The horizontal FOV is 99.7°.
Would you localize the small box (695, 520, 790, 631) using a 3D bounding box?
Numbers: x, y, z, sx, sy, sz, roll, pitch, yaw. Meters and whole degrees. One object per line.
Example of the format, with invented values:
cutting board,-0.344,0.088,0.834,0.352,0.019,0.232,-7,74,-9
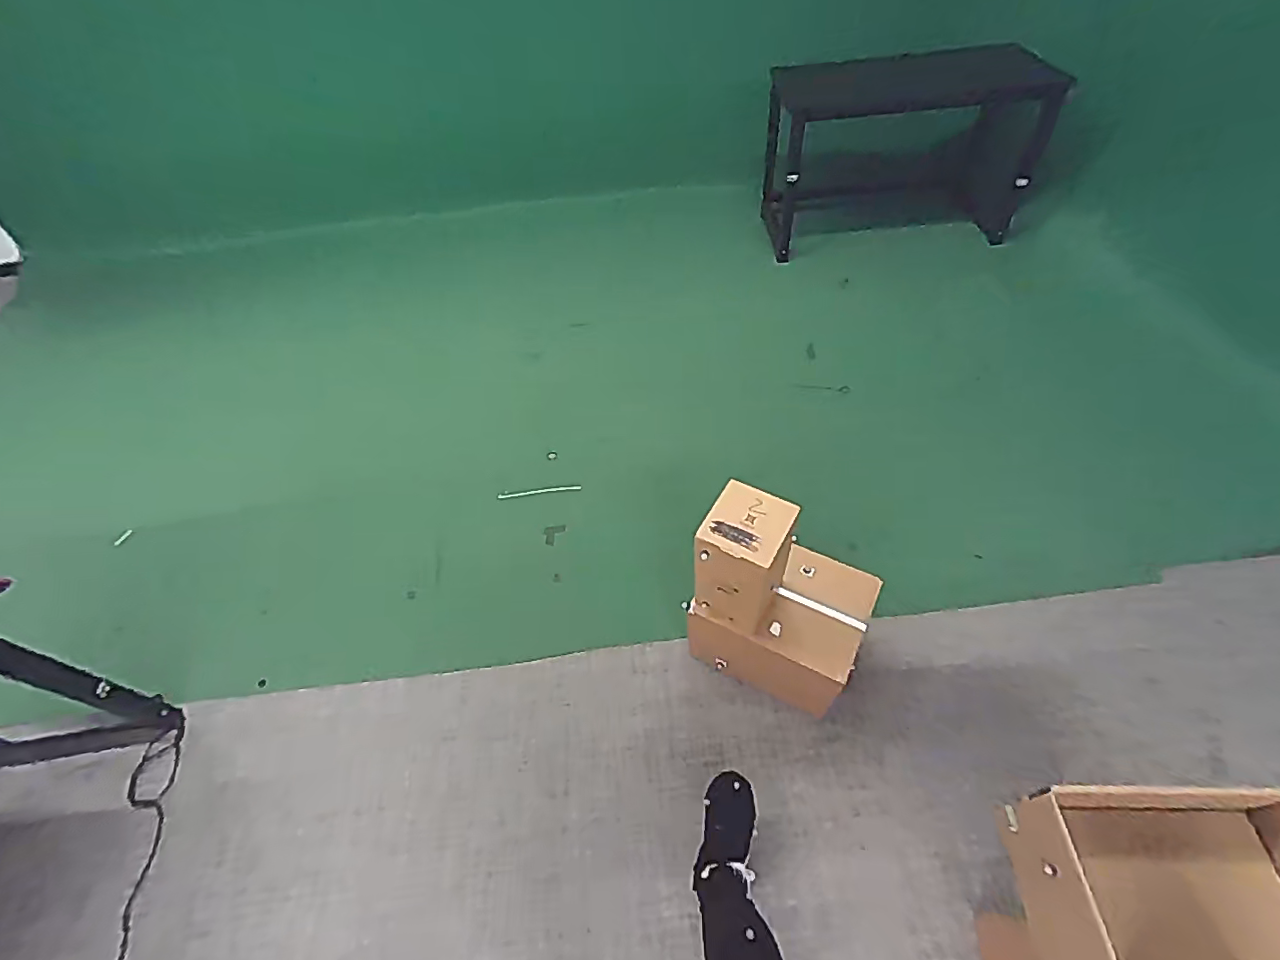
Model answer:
small box,0.249,0.237,1.323,0.168,0.176,0.179,26,57,23
